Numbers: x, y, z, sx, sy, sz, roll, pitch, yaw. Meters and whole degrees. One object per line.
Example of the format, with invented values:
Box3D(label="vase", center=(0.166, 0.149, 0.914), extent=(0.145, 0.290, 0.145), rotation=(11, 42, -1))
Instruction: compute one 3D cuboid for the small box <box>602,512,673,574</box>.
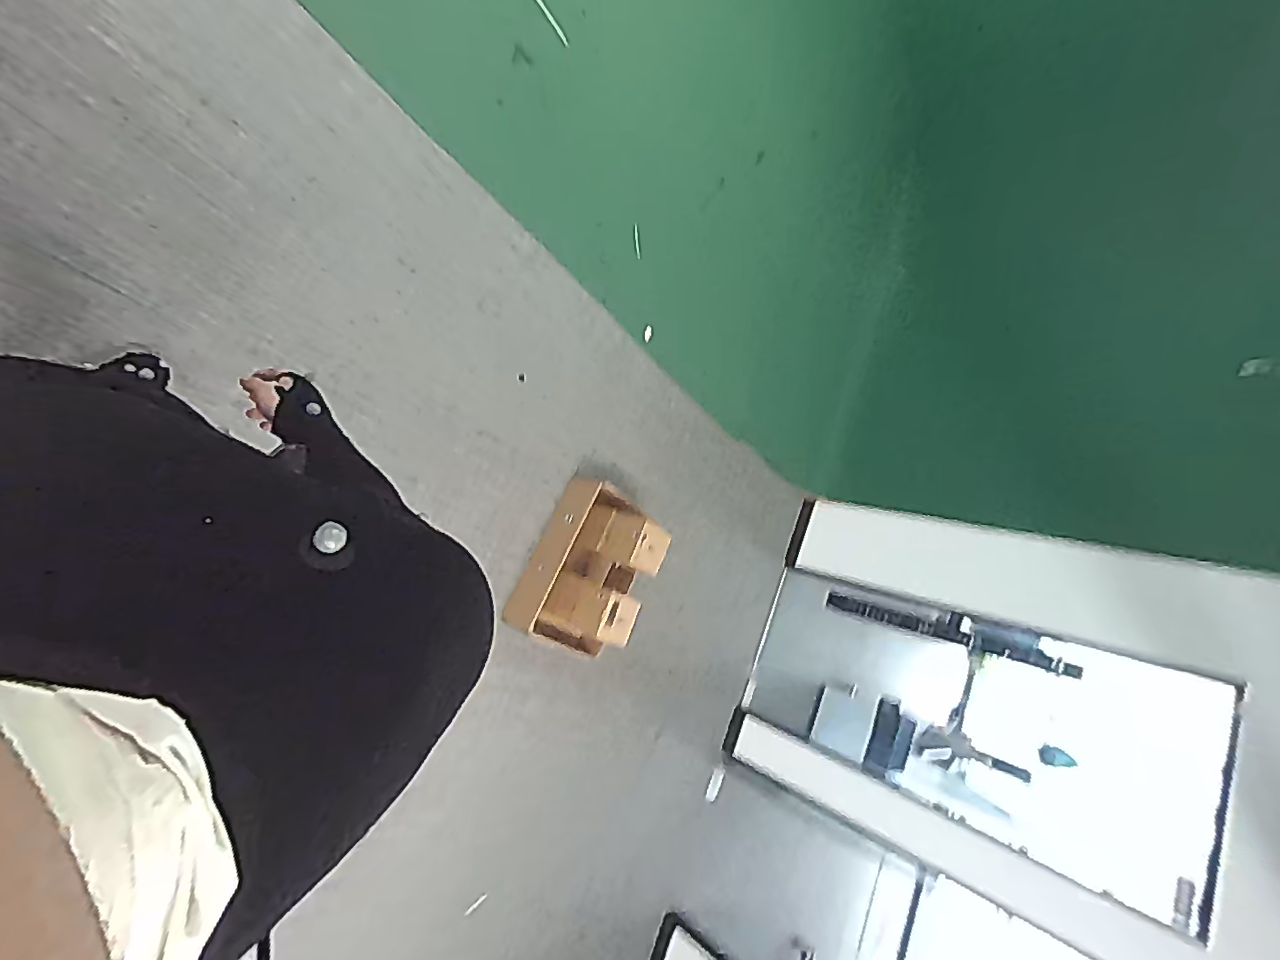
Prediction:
Box3D(label="small box", center=(-0.010, 0.232, 2.024), extent=(0.179, 0.176, 0.168), rotation=(38, 69, -46))
